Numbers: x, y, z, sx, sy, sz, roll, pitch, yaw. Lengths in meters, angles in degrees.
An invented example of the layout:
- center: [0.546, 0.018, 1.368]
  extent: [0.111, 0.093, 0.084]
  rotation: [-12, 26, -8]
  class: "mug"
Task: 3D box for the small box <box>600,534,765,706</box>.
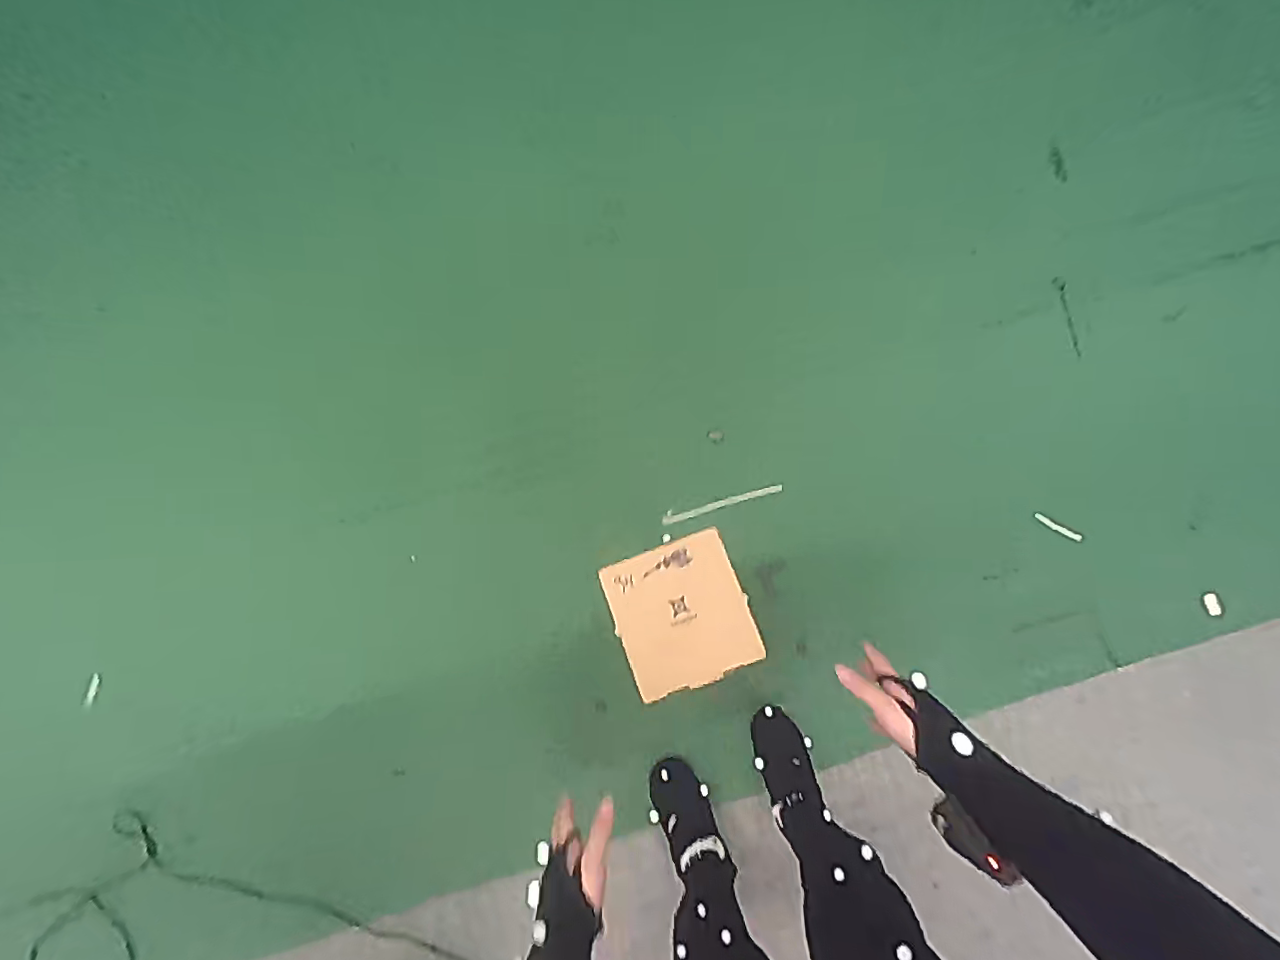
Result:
- center: [0.057, 0.188, 0.761]
  extent: [0.168, 0.176, 0.179]
  rotation: [-21, 79, -2]
  class: "small box"
